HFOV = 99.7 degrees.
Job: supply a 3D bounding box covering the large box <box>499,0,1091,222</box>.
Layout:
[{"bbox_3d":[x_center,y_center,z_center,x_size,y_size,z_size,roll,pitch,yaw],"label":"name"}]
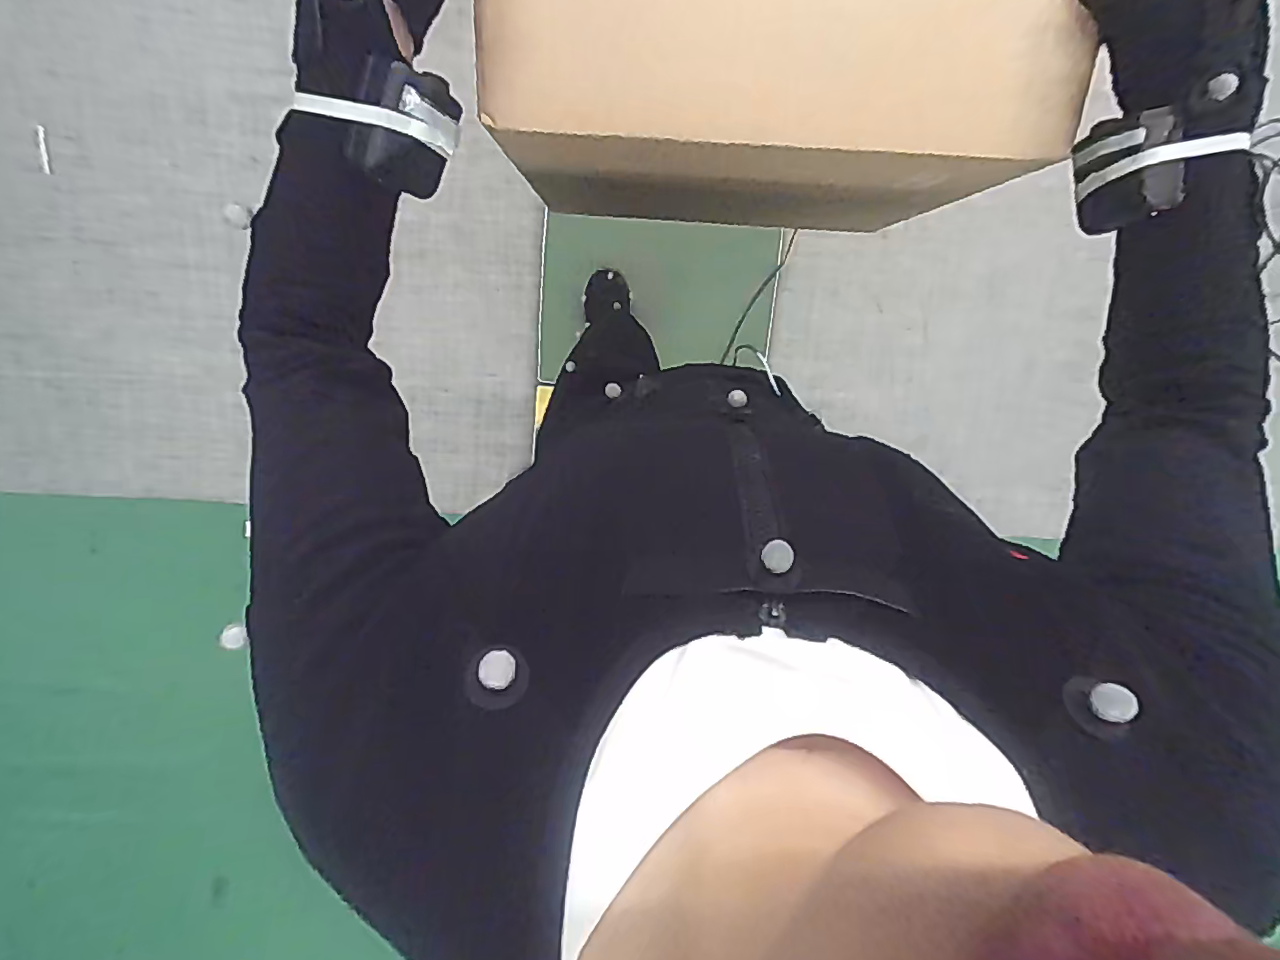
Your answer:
[{"bbox_3d":[0.101,-0.429,0.481,0.408,0.320,0.320,2,107,-2],"label":"large box"}]
